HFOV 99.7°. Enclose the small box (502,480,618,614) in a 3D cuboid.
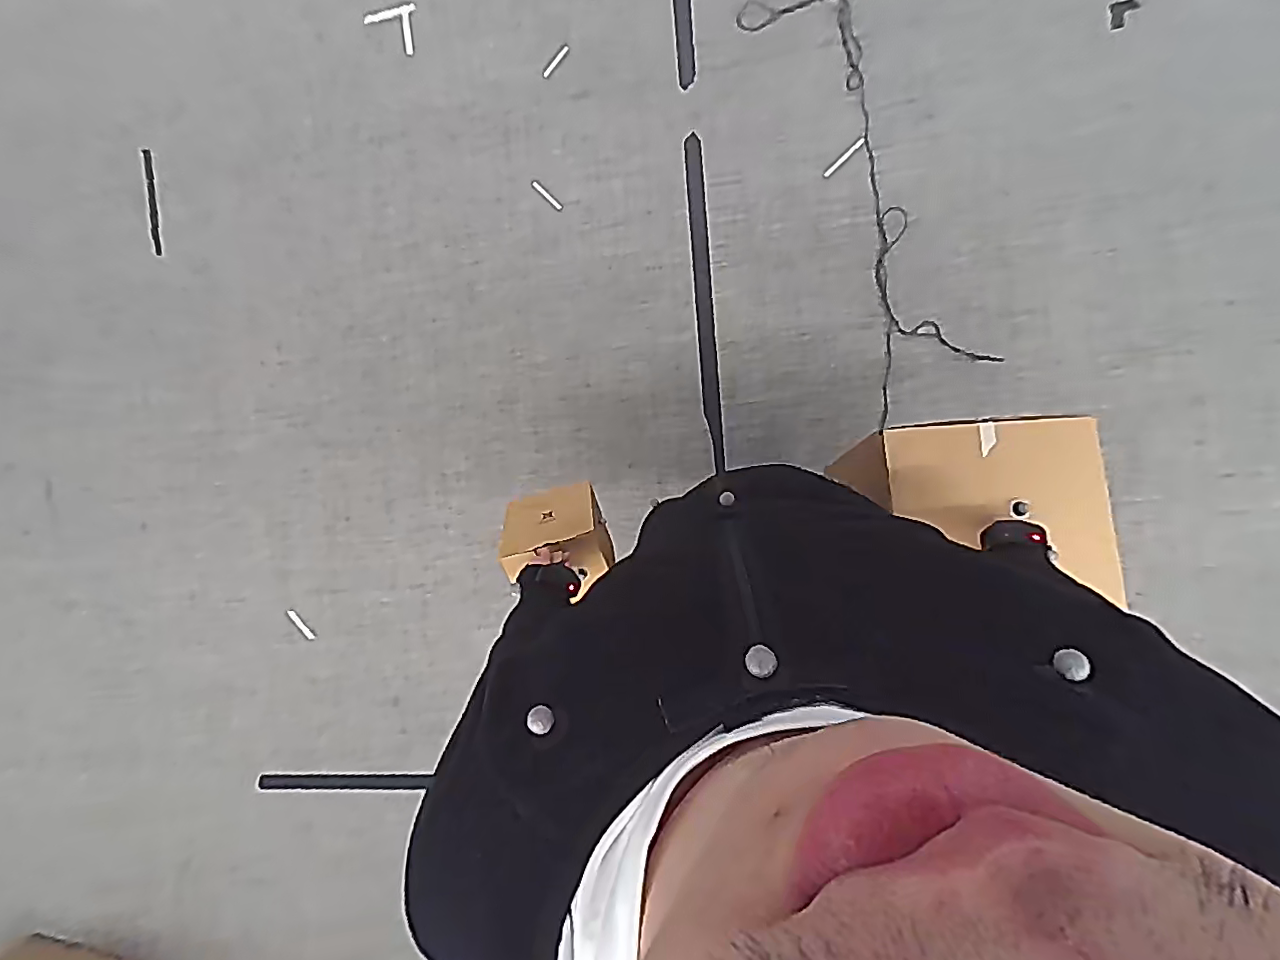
[{"bbox_3d":[-0.144,0.131,1.016,0.168,0.179,0.176,-16,120,0],"label":"small box"}]
